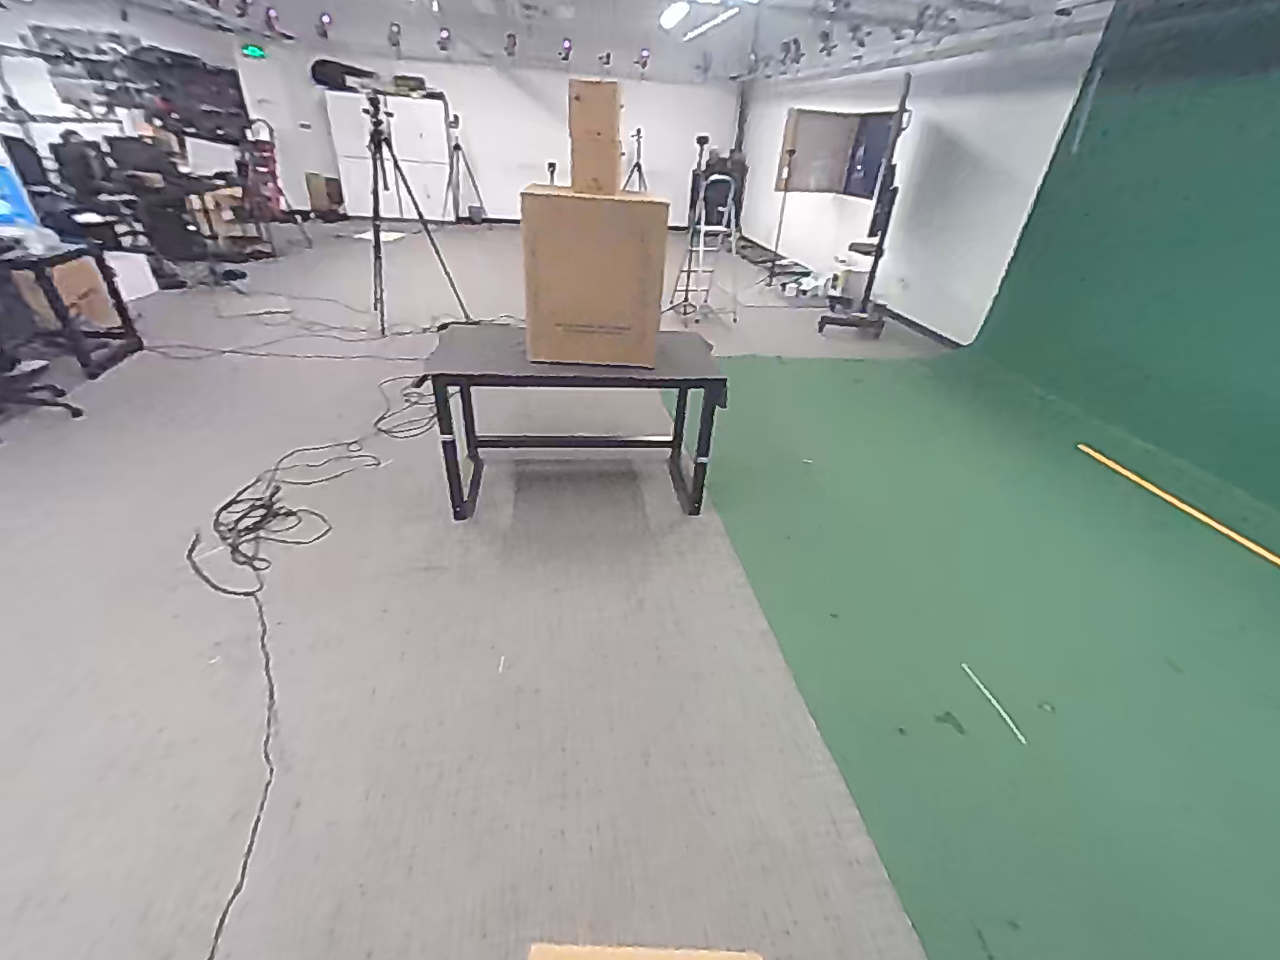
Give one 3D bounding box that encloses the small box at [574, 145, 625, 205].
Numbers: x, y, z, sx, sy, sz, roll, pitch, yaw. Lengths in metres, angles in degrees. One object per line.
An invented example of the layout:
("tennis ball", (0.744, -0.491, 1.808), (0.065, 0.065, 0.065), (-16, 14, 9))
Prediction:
("small box", (-0.151, -1.125, 1.991), (0.168, 0.176, 0.179), (6, 34, 1))
